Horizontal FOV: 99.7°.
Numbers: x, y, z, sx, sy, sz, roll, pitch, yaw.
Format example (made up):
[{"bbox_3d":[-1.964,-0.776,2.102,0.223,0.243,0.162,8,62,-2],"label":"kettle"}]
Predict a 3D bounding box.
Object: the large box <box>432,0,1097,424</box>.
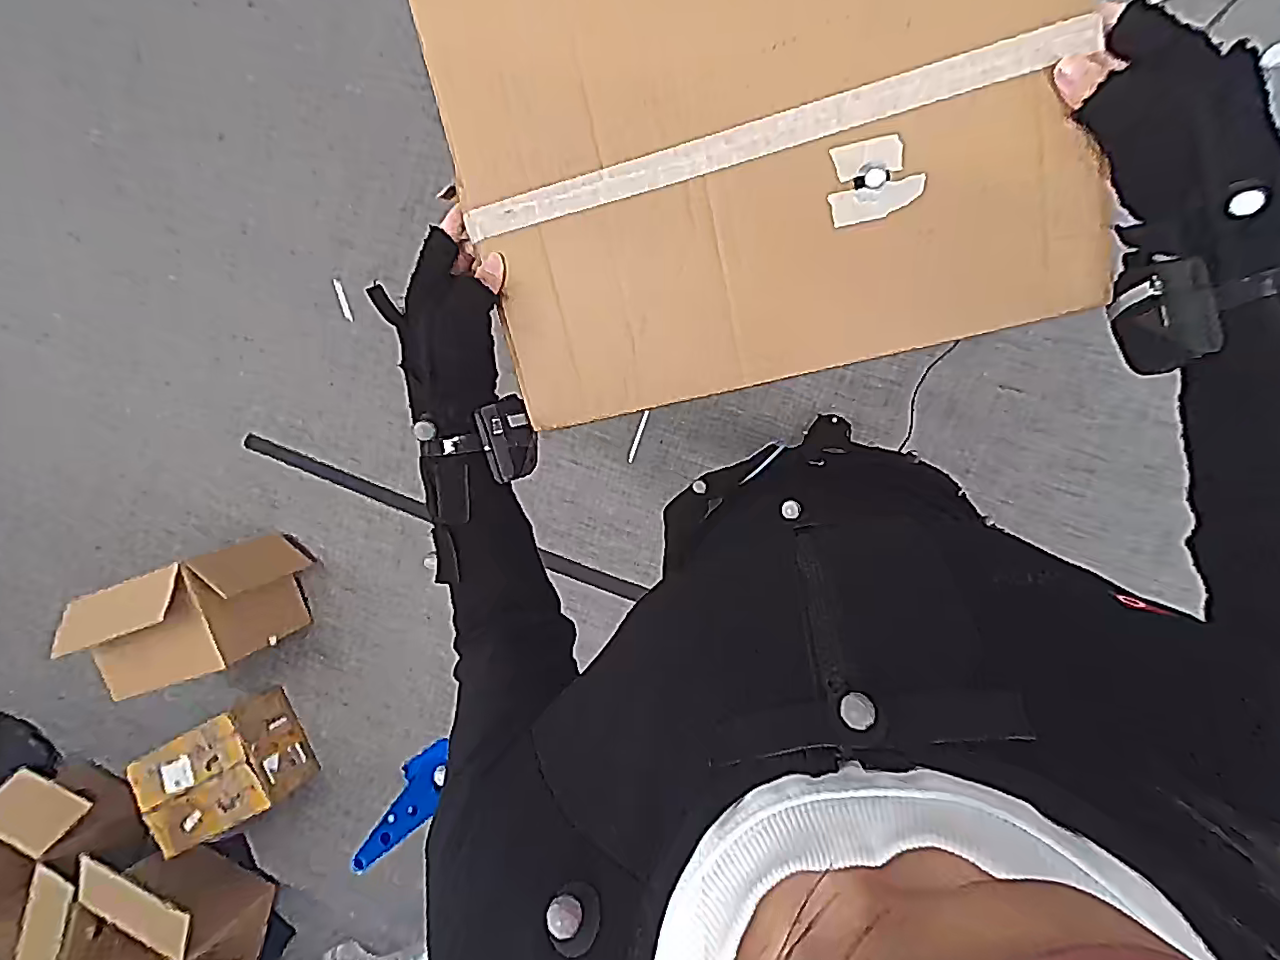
[{"bbox_3d":[0.097,-0.265,0.510,0.408,0.320,0.320,-12,103,9],"label":"large box"}]
